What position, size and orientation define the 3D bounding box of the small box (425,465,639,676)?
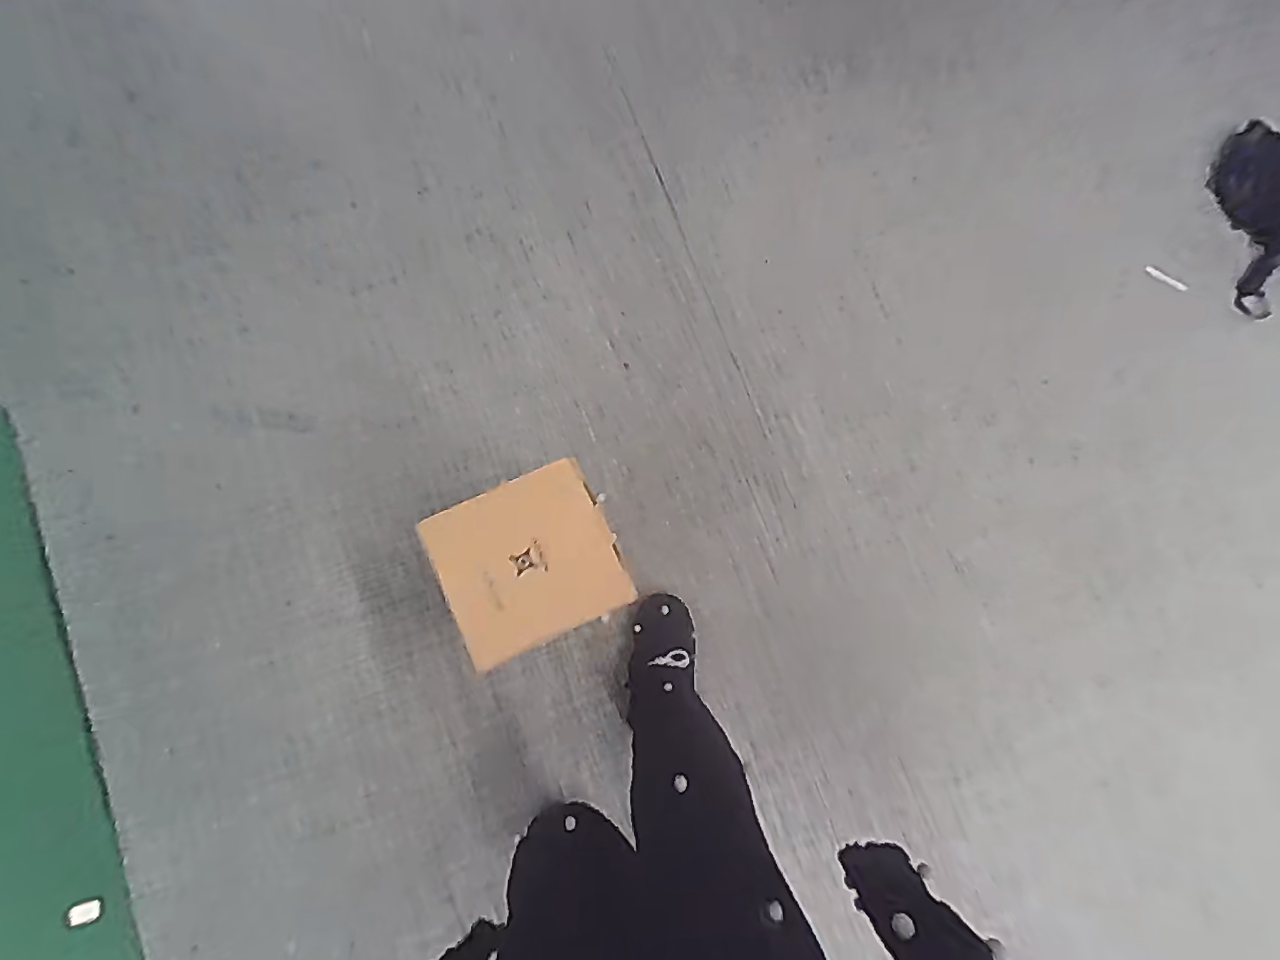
[{"bbox_3d":[-0.116,0.101,0.638,0.179,0.176,0.168,-26,83,-6],"label":"small box"}]
